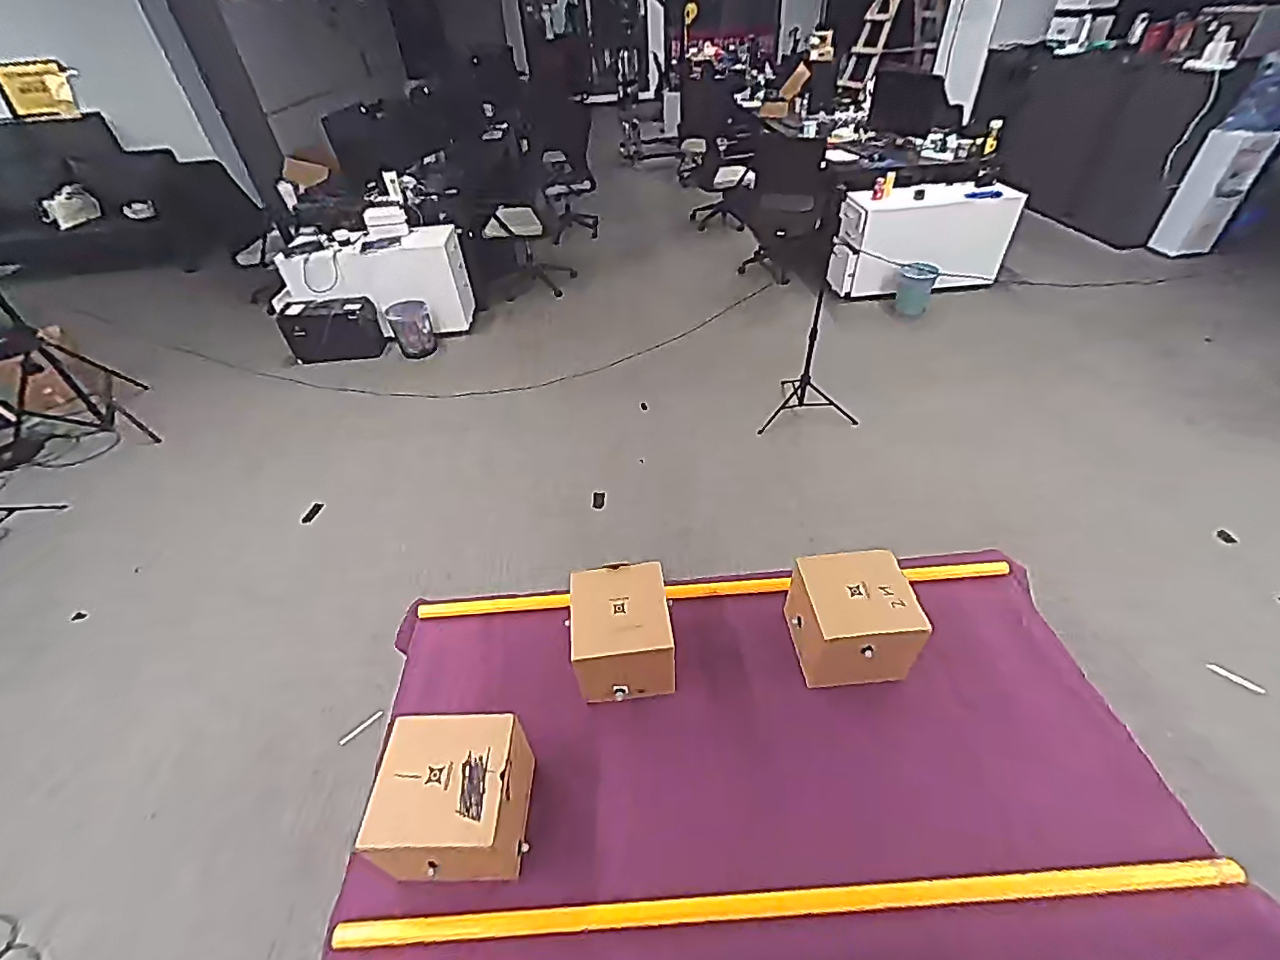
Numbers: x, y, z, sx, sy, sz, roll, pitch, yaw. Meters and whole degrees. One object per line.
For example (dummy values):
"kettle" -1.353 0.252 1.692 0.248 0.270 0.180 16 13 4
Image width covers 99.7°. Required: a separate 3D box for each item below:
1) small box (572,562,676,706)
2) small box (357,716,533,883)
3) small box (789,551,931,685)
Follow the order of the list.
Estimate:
"small box" -0.029 0.273 0.961 0.168 0.176 0.179 -7 43 -2
"small box" -0.258 0.455 0.771 0.179 0.176 0.168 -2 42 2
"small box" 0.372 0.248 0.957 0.179 0.176 0.168 -5 43 -1
